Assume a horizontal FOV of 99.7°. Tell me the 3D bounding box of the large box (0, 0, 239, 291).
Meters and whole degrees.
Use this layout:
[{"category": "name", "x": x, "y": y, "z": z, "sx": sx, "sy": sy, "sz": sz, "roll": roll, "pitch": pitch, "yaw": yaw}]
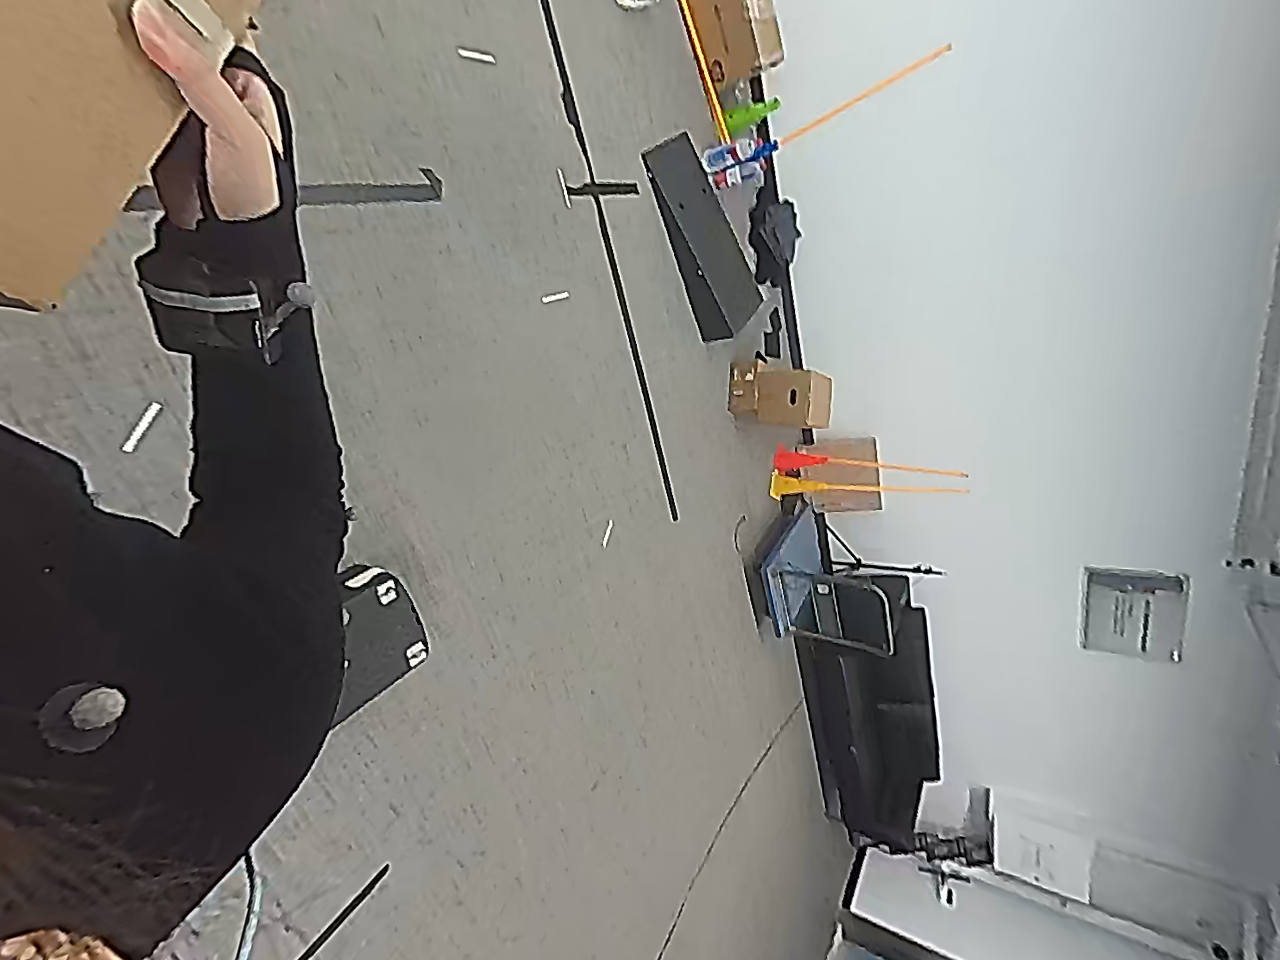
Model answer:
[{"category": "large box", "x": -0.419, "y": -0.313, "z": 0.170, "sx": 0.408, "sy": 0.320, "sz": 0.320, "roll": 41, "pitch": 64, "yaw": -60}]
